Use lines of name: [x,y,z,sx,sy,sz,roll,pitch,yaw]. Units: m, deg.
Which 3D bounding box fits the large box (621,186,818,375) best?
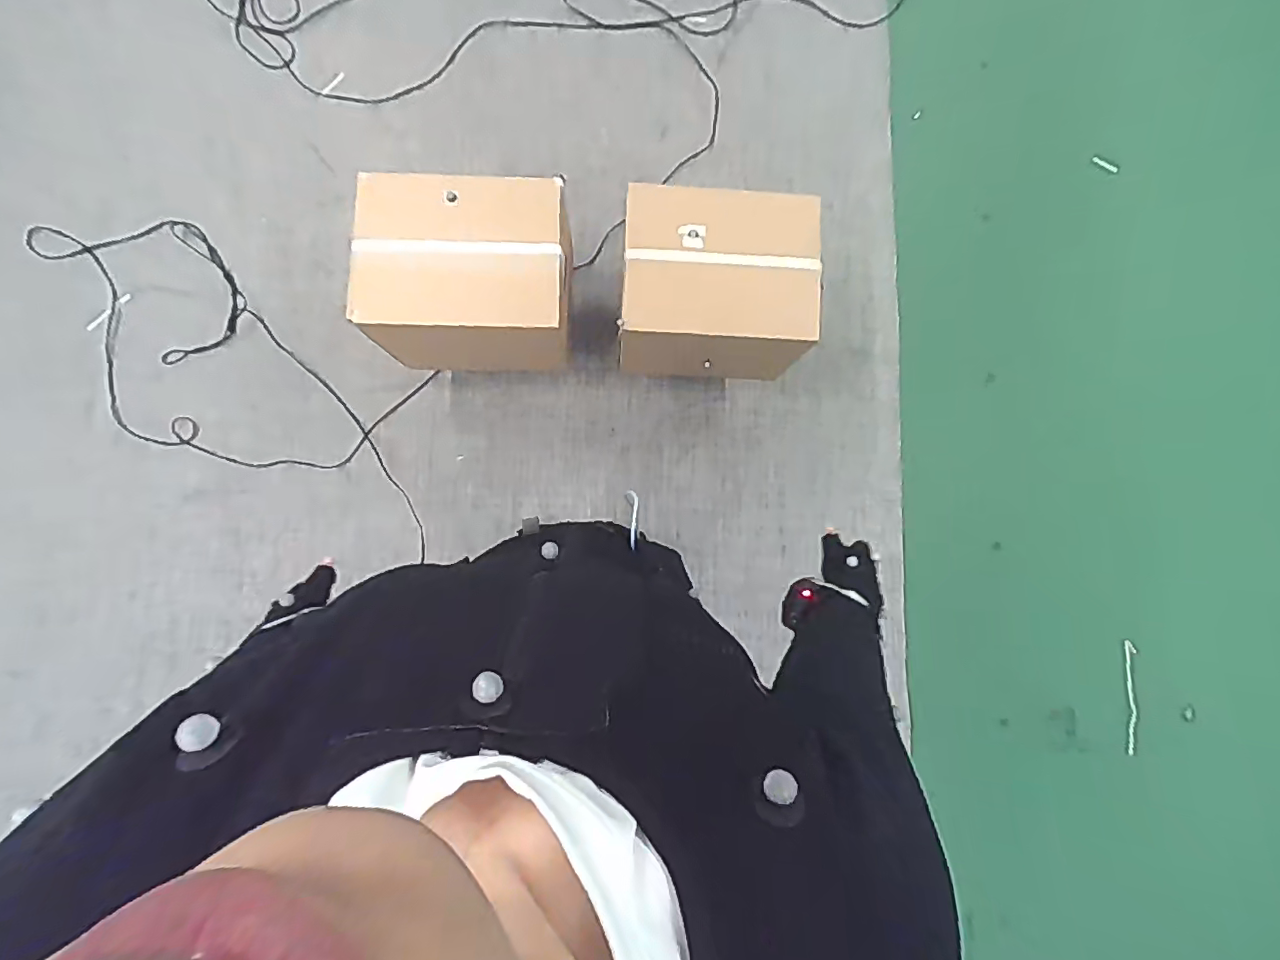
large box: [0.165,-0.438,1.259,0.408,0.320,0.320,3,85,-3]
